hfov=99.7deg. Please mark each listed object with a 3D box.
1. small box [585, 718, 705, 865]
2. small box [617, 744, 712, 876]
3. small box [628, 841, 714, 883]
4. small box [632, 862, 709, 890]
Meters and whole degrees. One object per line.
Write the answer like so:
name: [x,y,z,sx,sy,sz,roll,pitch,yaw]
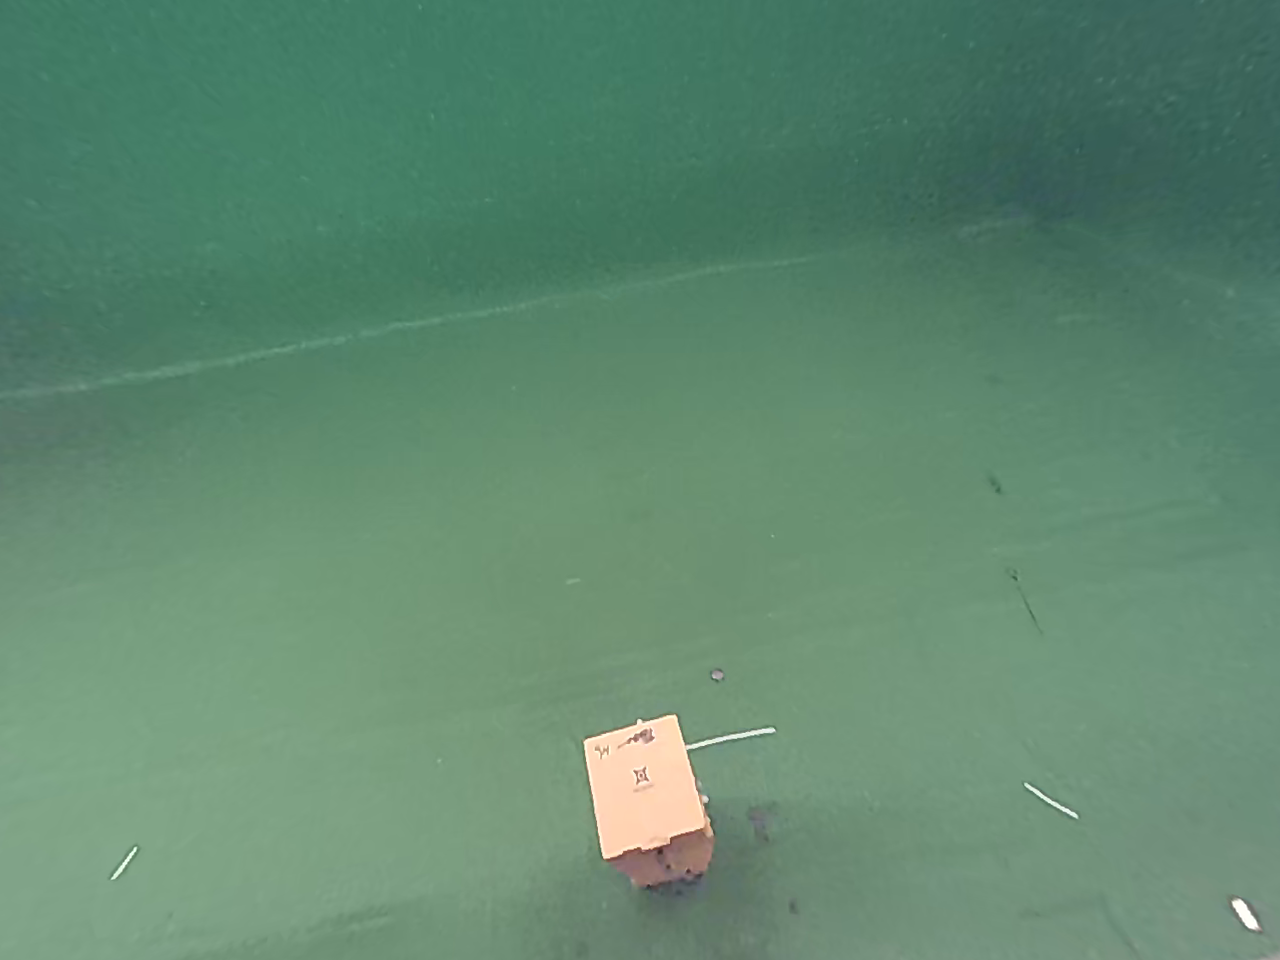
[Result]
small box: [0.012,0.536,0.923,0.168,0.176,0.179,-14,50,-5]
small box: [0.033,0.643,1.047,0.179,0.176,0.168,-14,50,-6]
small box: [0.053,0.750,1.170,0.179,0.176,0.168,-15,50,-4]
small box: [0.060,0.859,1.290,0.179,0.176,0.168,-11,49,-3]
